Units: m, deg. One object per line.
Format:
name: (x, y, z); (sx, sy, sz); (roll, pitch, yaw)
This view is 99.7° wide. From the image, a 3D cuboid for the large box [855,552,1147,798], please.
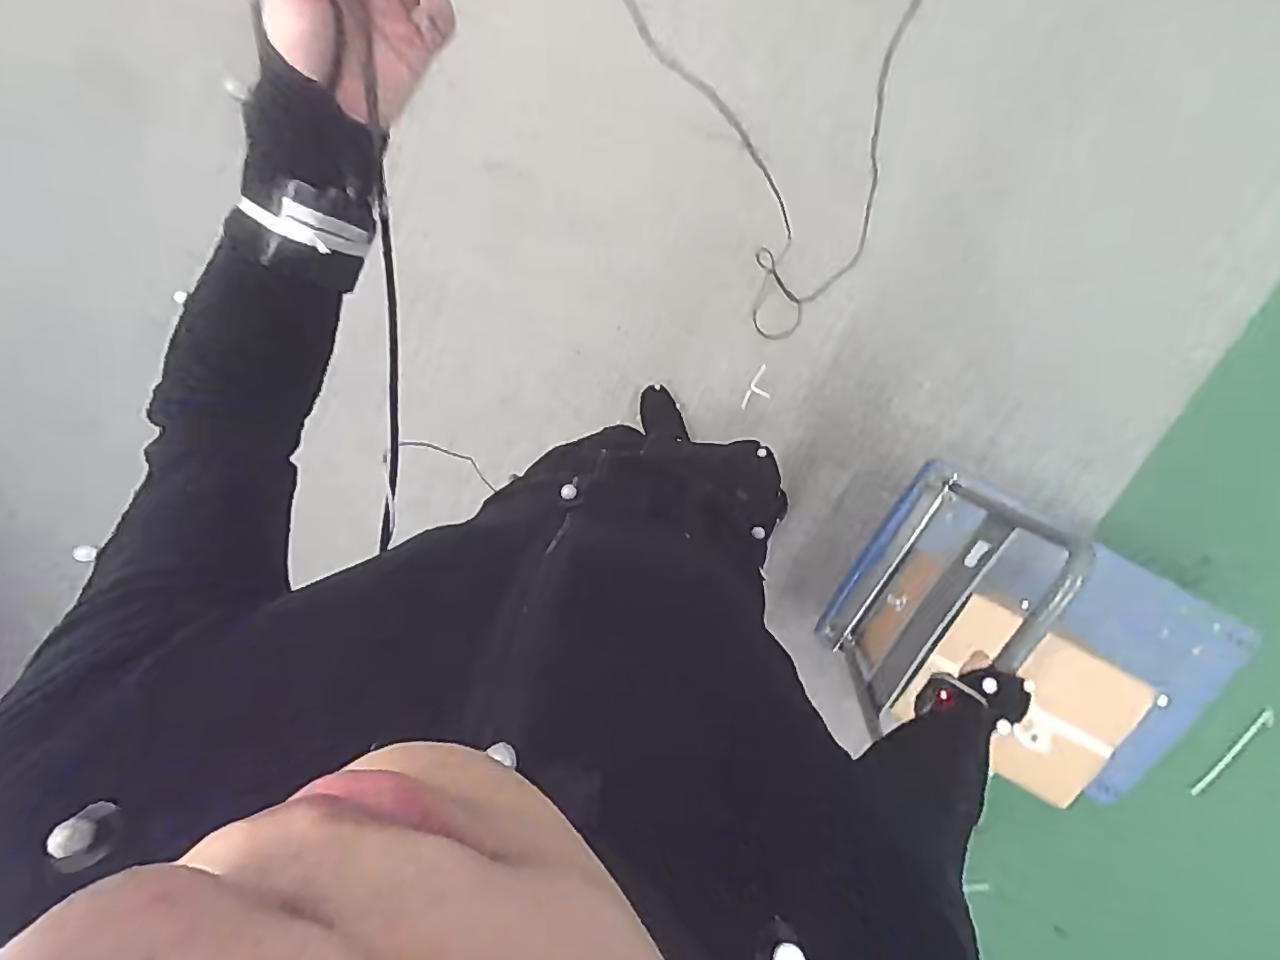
large box: (0.790, 0.424, 1.262); (0.408, 0.320, 0.320); (29, 103, 3)
